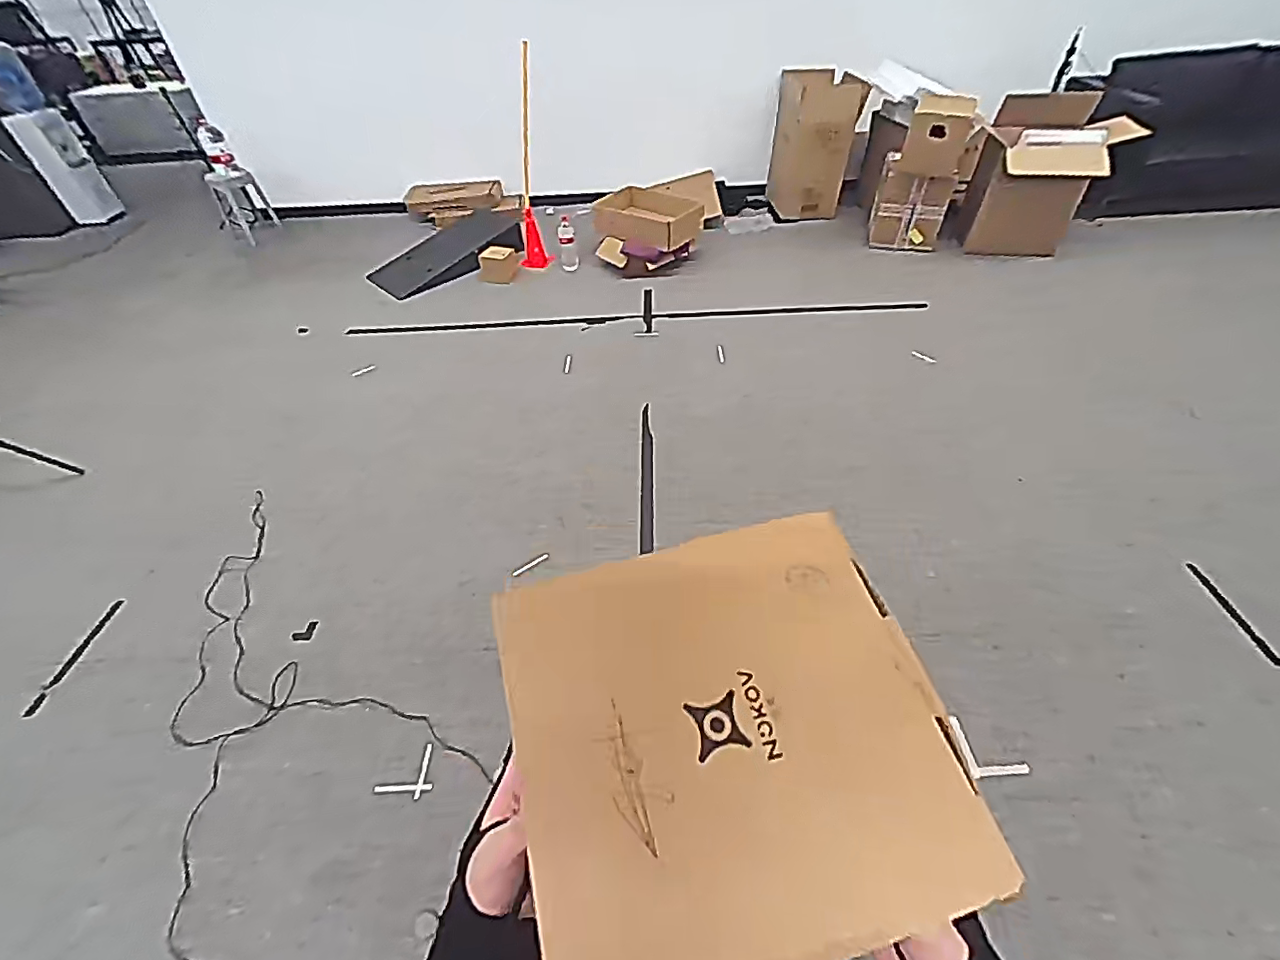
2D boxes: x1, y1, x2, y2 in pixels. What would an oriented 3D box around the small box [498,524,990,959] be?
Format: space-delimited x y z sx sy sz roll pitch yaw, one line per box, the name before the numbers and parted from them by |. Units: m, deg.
small box | 0.034 0.151 0.306 0.179 0.176 0.168 -15 59 -7
